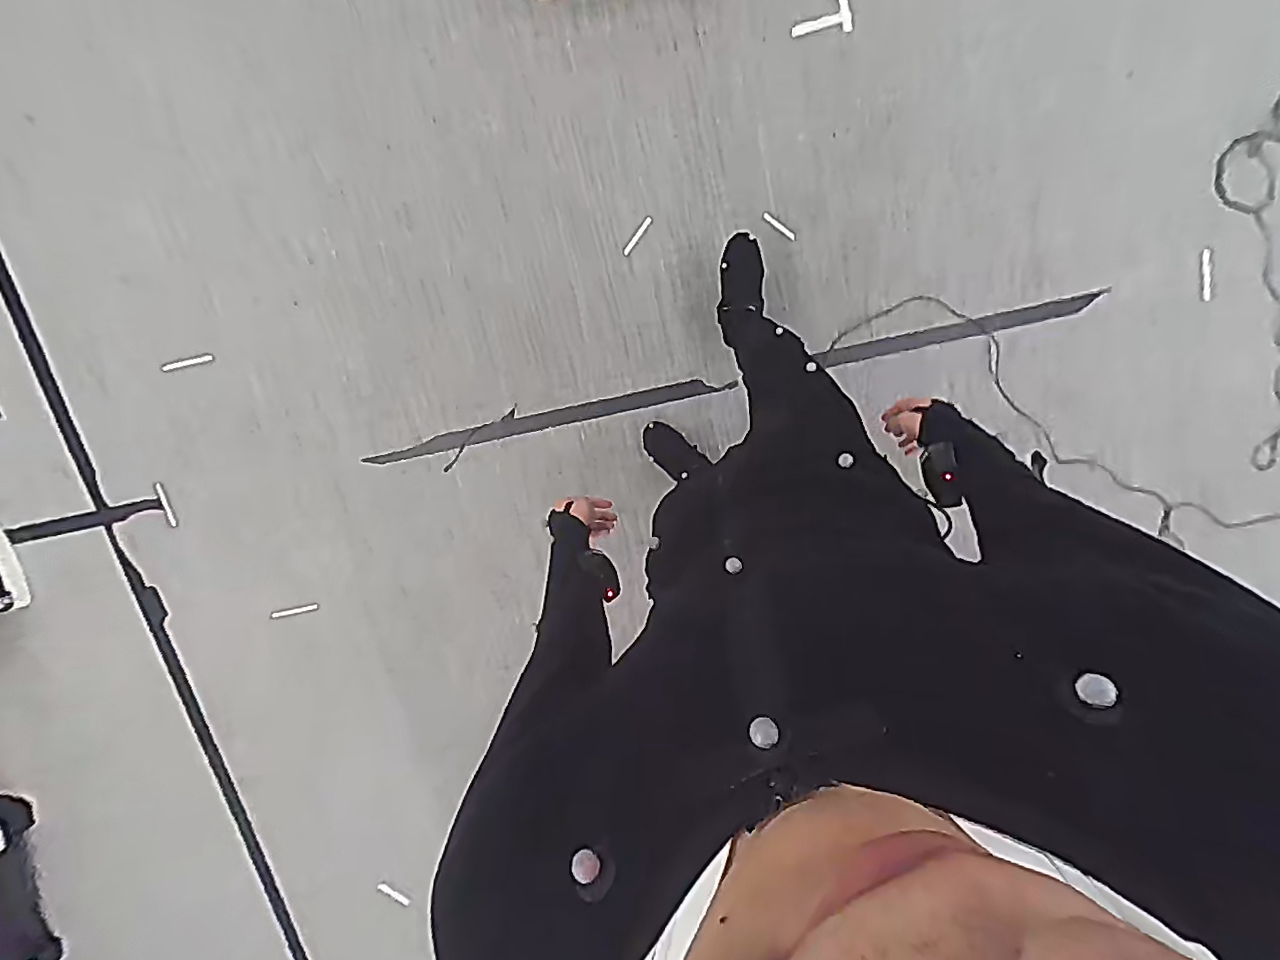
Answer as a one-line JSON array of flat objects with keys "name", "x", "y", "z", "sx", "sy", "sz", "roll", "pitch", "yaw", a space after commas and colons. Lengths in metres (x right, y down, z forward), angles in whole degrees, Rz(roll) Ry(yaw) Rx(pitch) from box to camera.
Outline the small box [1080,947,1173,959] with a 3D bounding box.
[{"name": "small box", "x": 0.955, "y": 1.011, "z": 0.996, "sx": 0.168, "sy": 0.176, "sz": 0.179, "roll": -13, "pitch": 100, "yaw": 3}]
